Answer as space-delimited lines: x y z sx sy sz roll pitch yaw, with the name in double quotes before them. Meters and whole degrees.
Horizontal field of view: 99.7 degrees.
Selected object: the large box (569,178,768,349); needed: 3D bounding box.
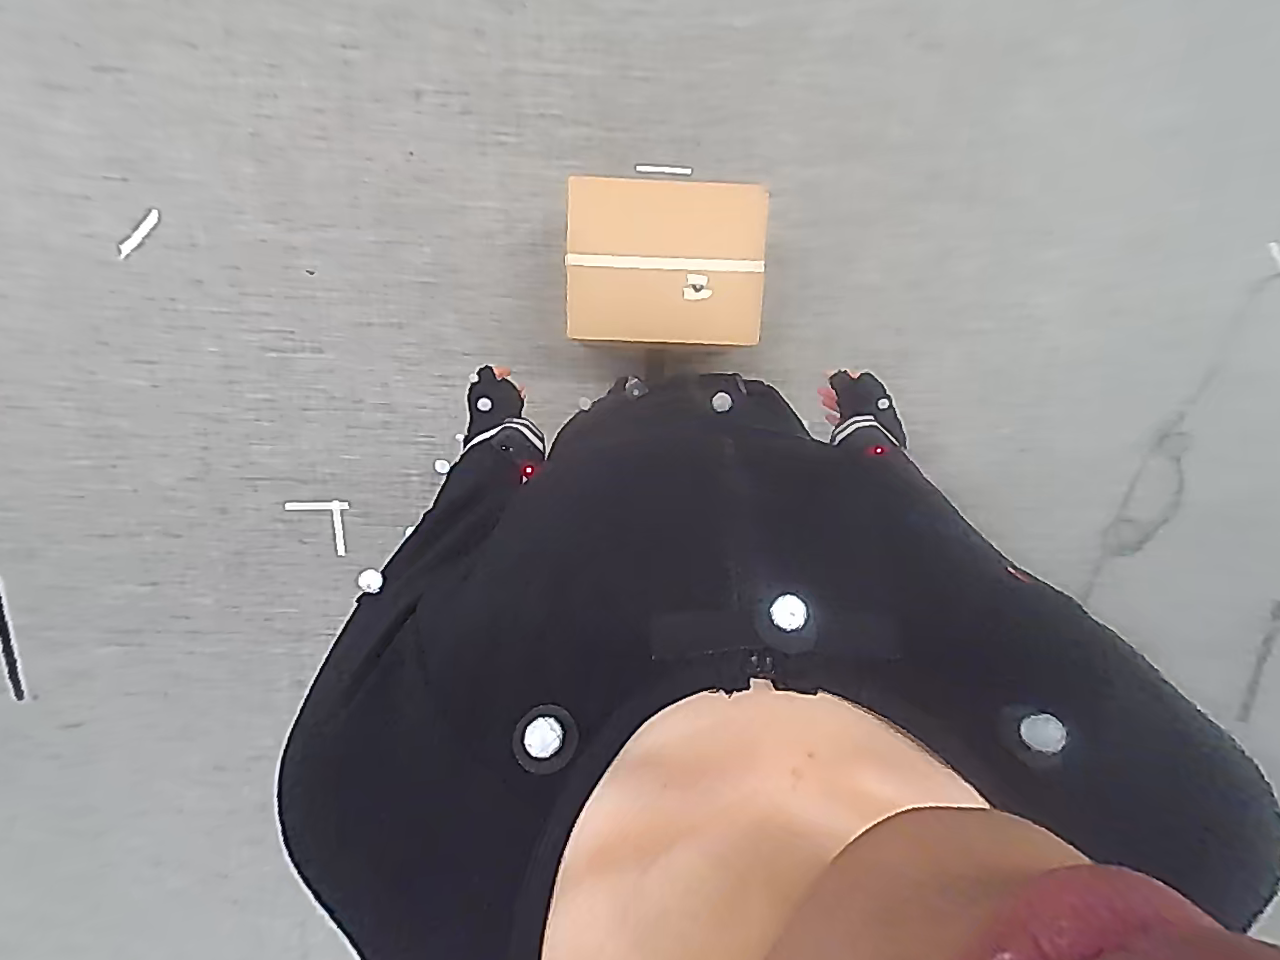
"large box" 0.050 -0.470 1.247 0.408 0.320 0.320 1 102 -2
